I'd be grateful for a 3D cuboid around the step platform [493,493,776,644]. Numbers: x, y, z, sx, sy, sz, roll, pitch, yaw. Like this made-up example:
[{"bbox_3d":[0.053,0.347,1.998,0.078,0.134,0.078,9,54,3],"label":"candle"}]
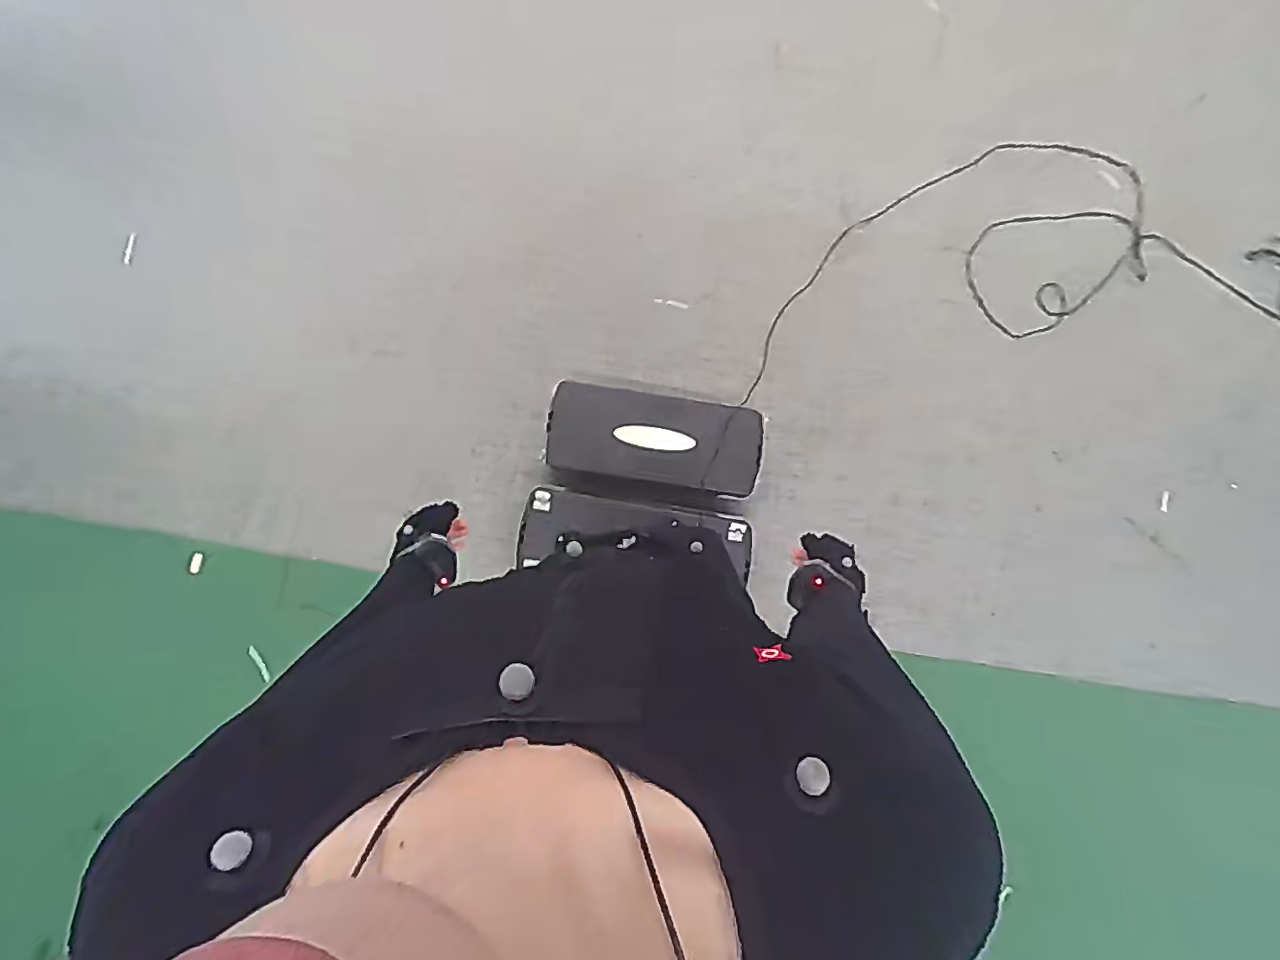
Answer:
[{"bbox_3d":[-0.013,0.220,1.398,0.684,0.204,0.286,9,86,-2],"label":"step platform"}]
